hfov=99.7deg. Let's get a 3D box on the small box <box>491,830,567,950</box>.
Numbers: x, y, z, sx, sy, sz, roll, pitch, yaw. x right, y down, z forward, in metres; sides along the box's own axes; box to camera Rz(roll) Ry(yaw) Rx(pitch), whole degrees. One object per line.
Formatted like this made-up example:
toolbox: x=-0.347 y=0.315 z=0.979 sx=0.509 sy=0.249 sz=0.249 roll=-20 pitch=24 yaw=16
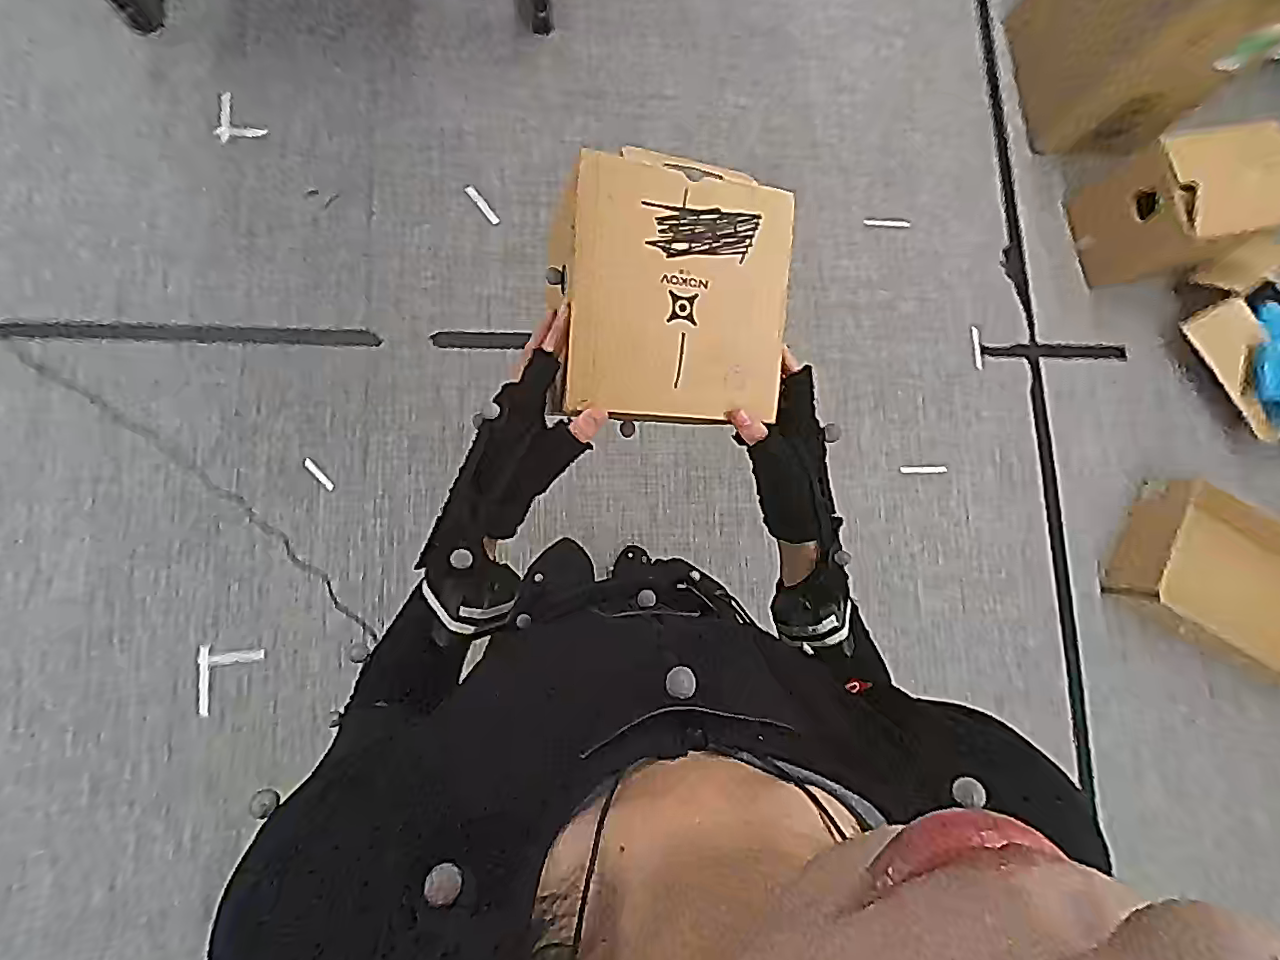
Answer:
small box: x=-0.267 y=1.000 z=1.330 sx=0.168 sy=0.176 sz=0.179 roll=2 pitch=82 yaw=-8
